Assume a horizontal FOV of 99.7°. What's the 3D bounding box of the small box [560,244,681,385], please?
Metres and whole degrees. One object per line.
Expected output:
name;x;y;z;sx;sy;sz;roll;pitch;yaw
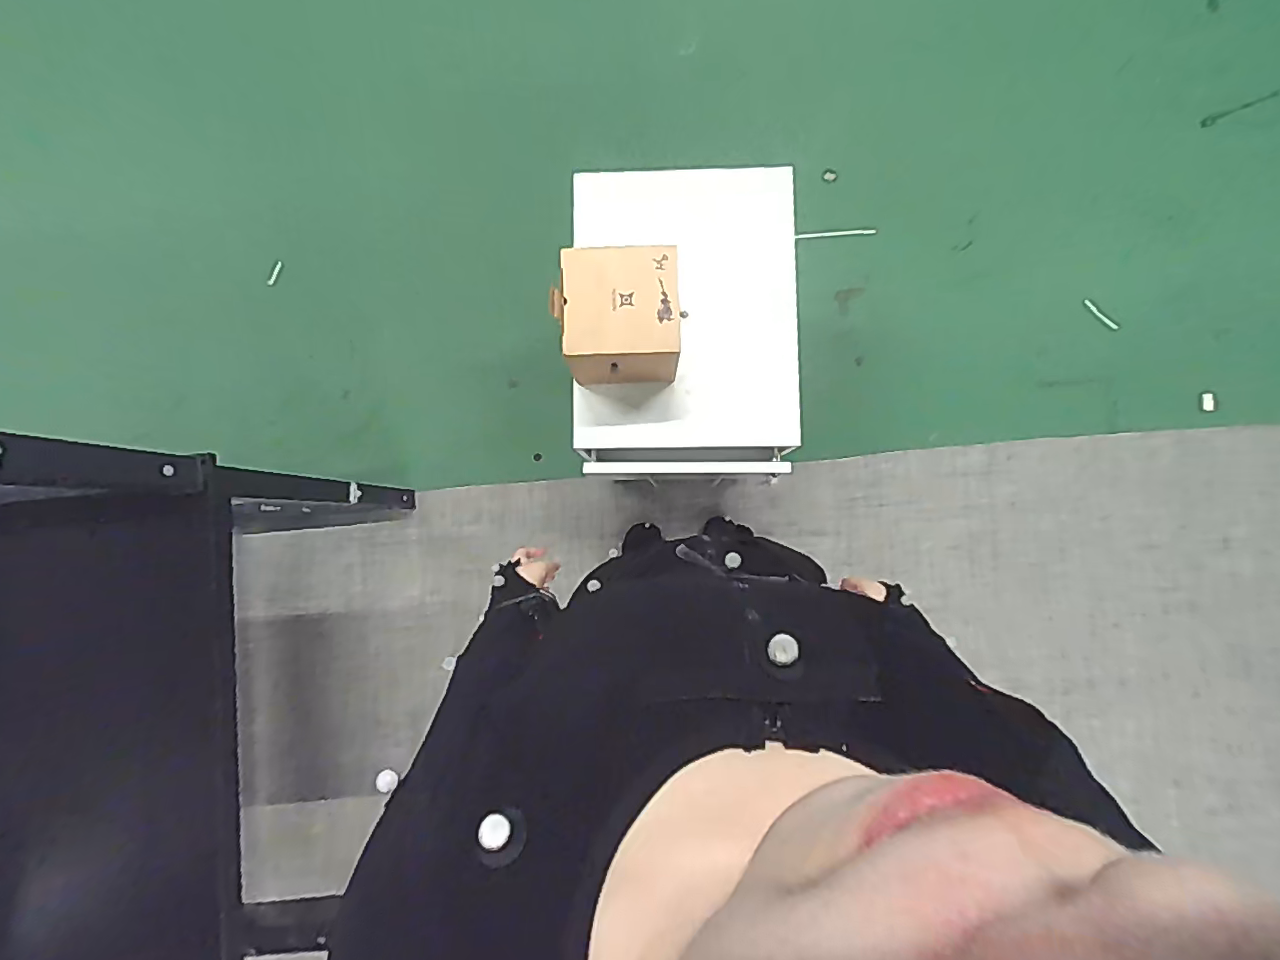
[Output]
small box;-0.025;-0.252;0.860;0.179;0.176;0.168;-2;85;1
